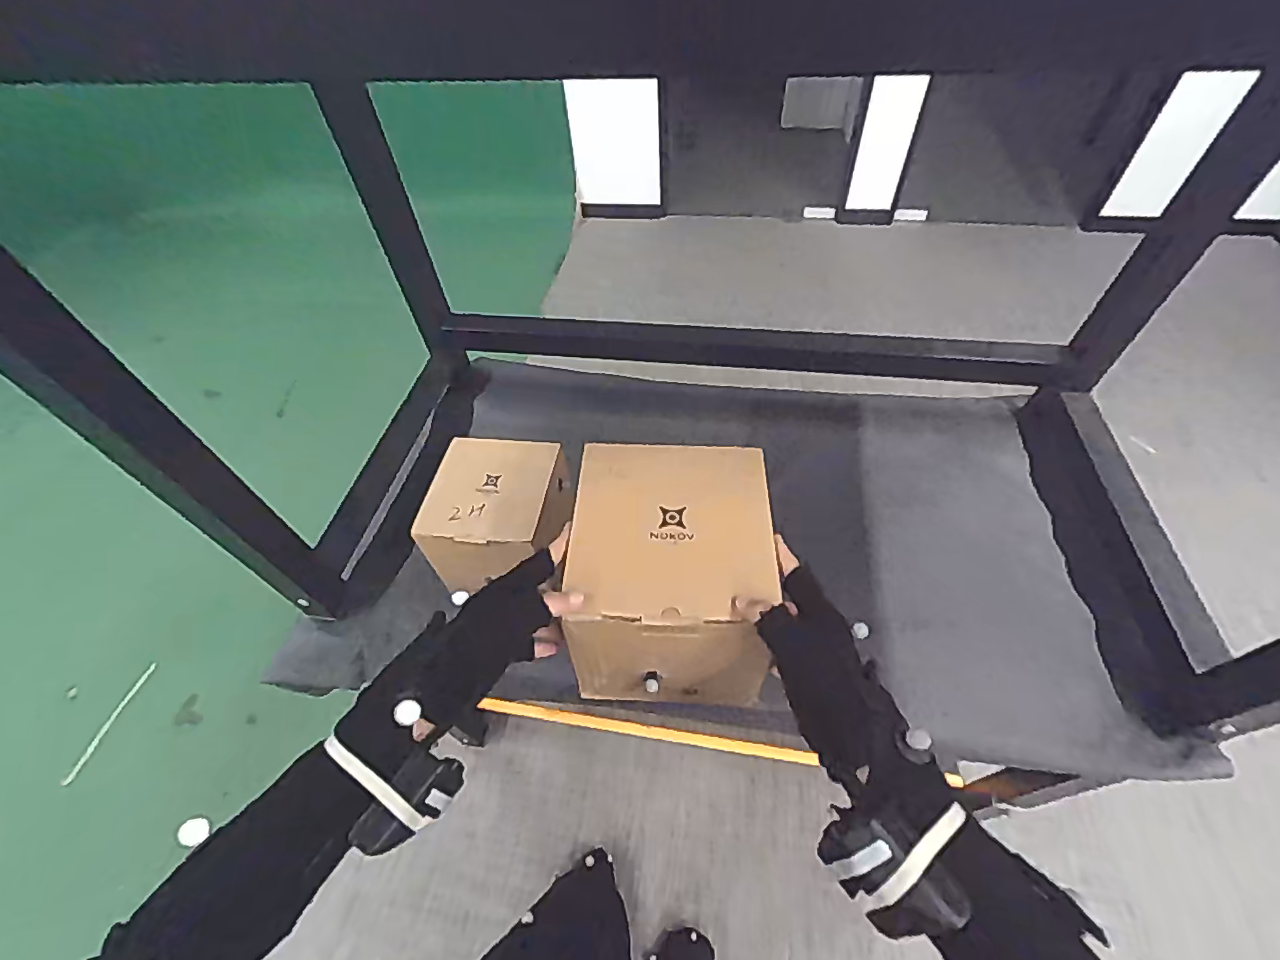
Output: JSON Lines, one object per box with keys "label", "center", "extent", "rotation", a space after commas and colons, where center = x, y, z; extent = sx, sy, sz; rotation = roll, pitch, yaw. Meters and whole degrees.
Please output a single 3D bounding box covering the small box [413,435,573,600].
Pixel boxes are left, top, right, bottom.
{"label": "small box", "center": [-0.201, 0.056, 0.806], "extent": [0.168, 0.176, 0.179], "rotation": [4, 51, 7]}
